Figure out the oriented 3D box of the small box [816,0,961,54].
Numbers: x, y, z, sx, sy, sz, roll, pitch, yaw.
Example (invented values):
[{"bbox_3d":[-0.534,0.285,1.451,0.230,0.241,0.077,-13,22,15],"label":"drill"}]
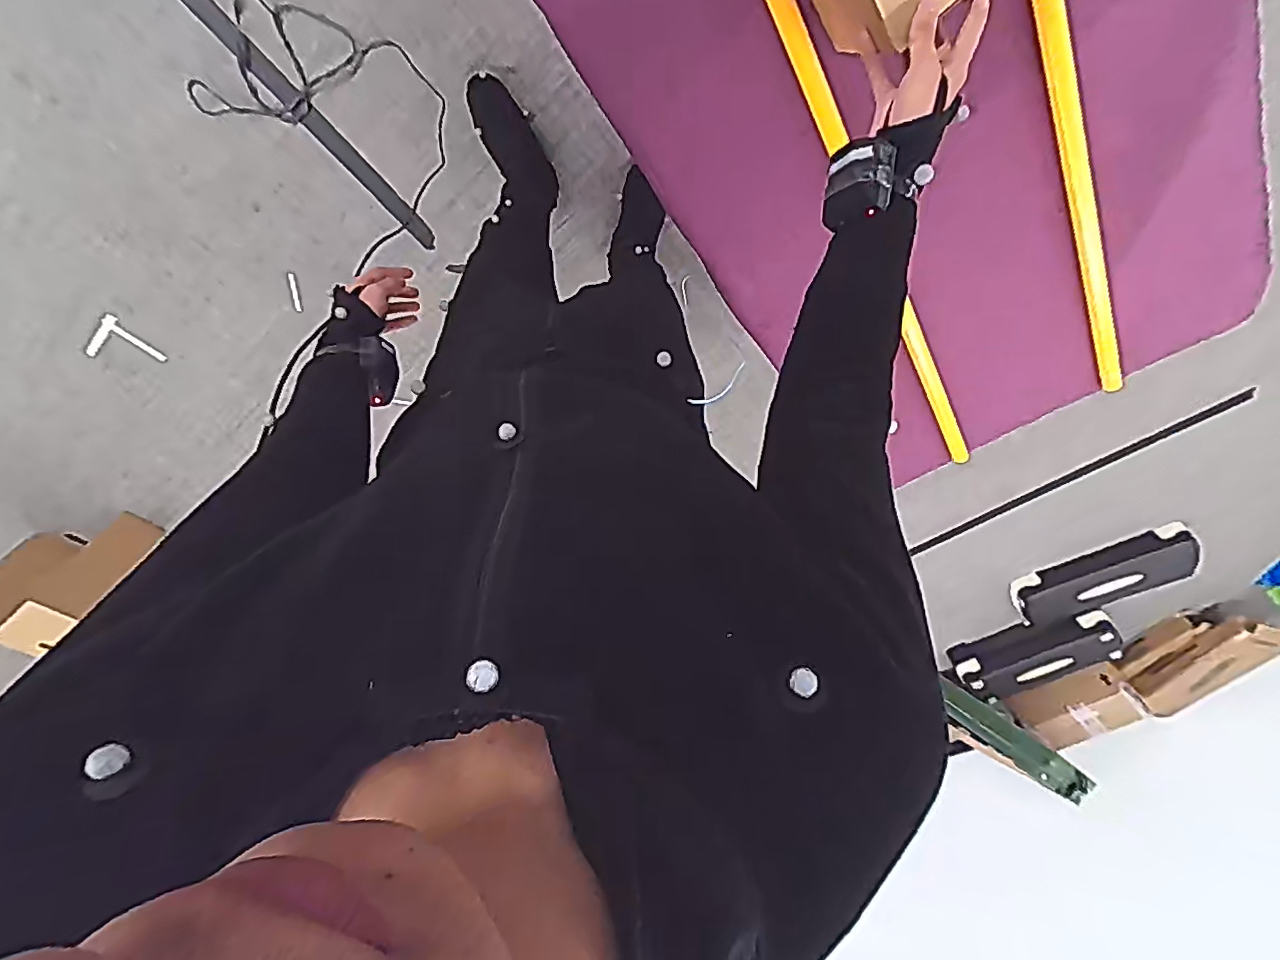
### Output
[{"bbox_3d":[0.224,-0.509,0.450,0.168,0.176,0.179,-34,124,24],"label":"small box"}]
